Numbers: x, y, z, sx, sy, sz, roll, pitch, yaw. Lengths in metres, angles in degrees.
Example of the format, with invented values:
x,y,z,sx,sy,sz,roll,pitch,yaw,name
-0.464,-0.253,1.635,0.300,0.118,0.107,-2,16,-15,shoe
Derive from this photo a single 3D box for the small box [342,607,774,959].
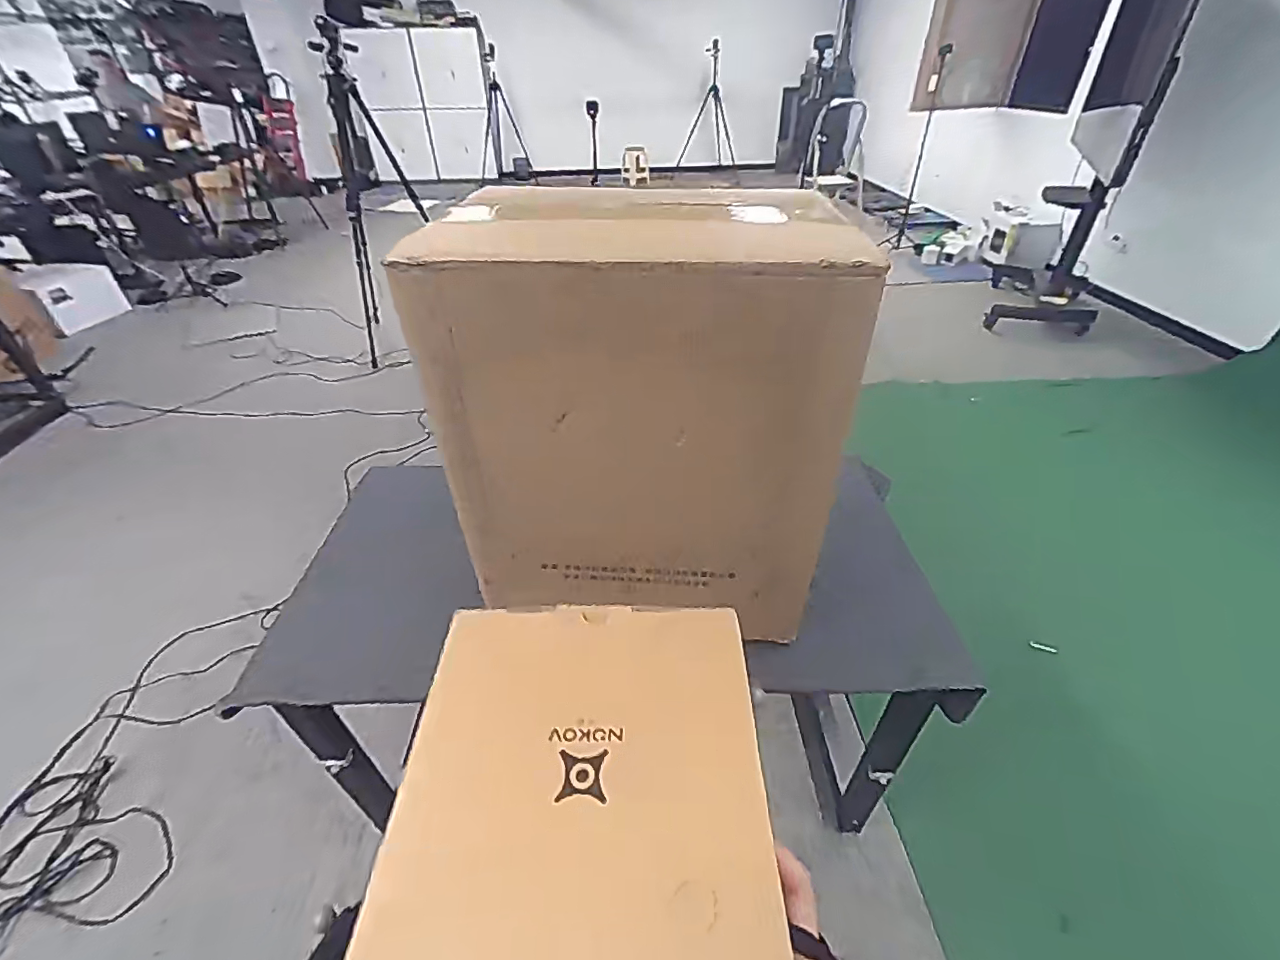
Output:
x,y,z,sx,sy,sz,roll,pitch,yaw,name
-0.028,0.193,0.305,0.168,0.176,0.179,-1,40,1,small box
